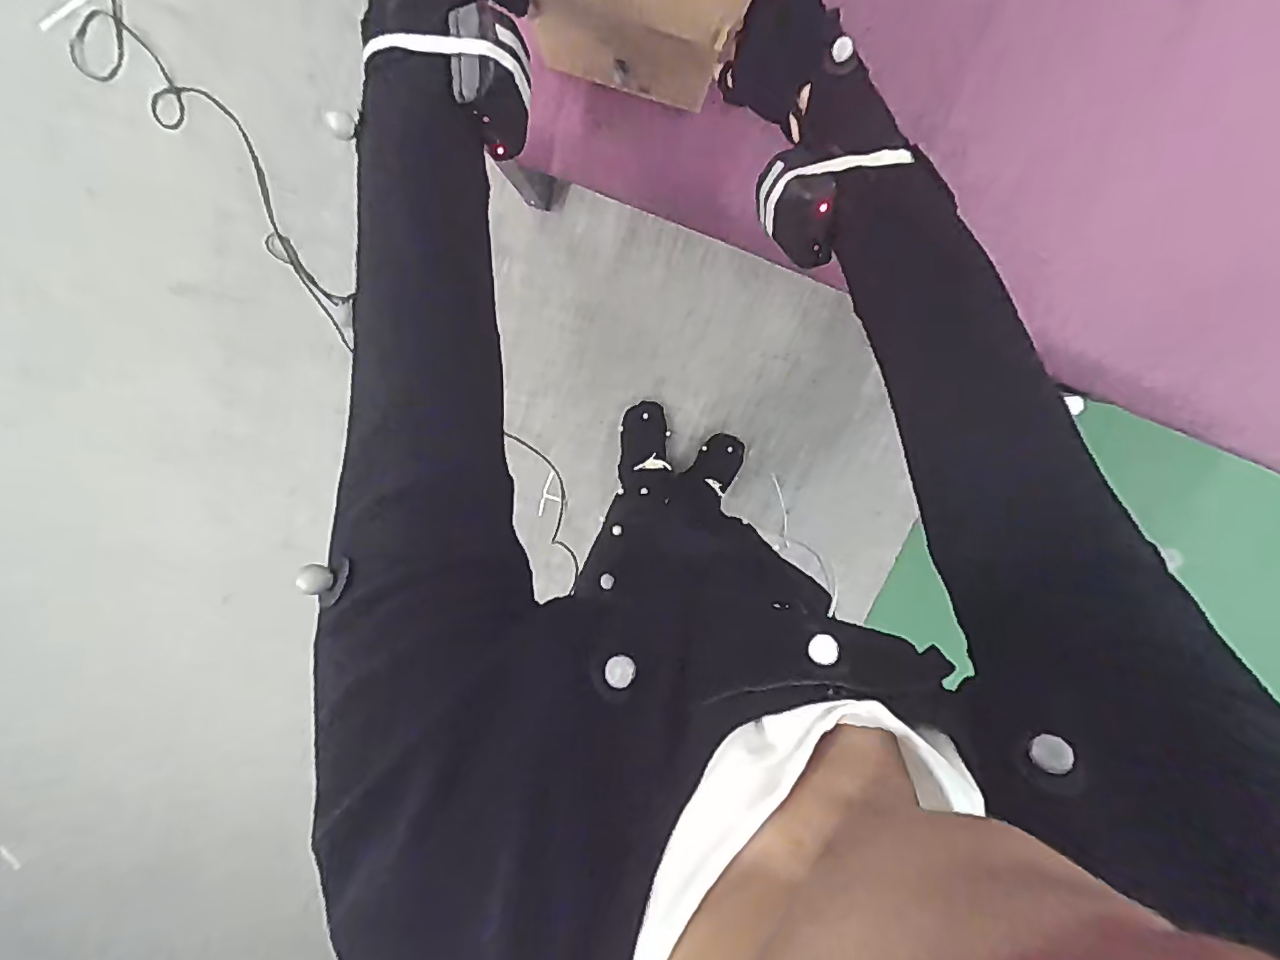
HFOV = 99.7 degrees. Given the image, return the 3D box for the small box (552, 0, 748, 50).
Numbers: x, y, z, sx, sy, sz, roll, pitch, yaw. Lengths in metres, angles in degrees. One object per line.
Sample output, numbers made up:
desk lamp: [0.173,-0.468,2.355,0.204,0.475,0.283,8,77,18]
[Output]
small box: [0.010,-0.398,0.315,0.179,0.176,0.168,14,104,-7]

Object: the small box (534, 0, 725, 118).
small box: [0.004,-0.459,0.466,0.168,0.176,0.179,14,104,-7]
